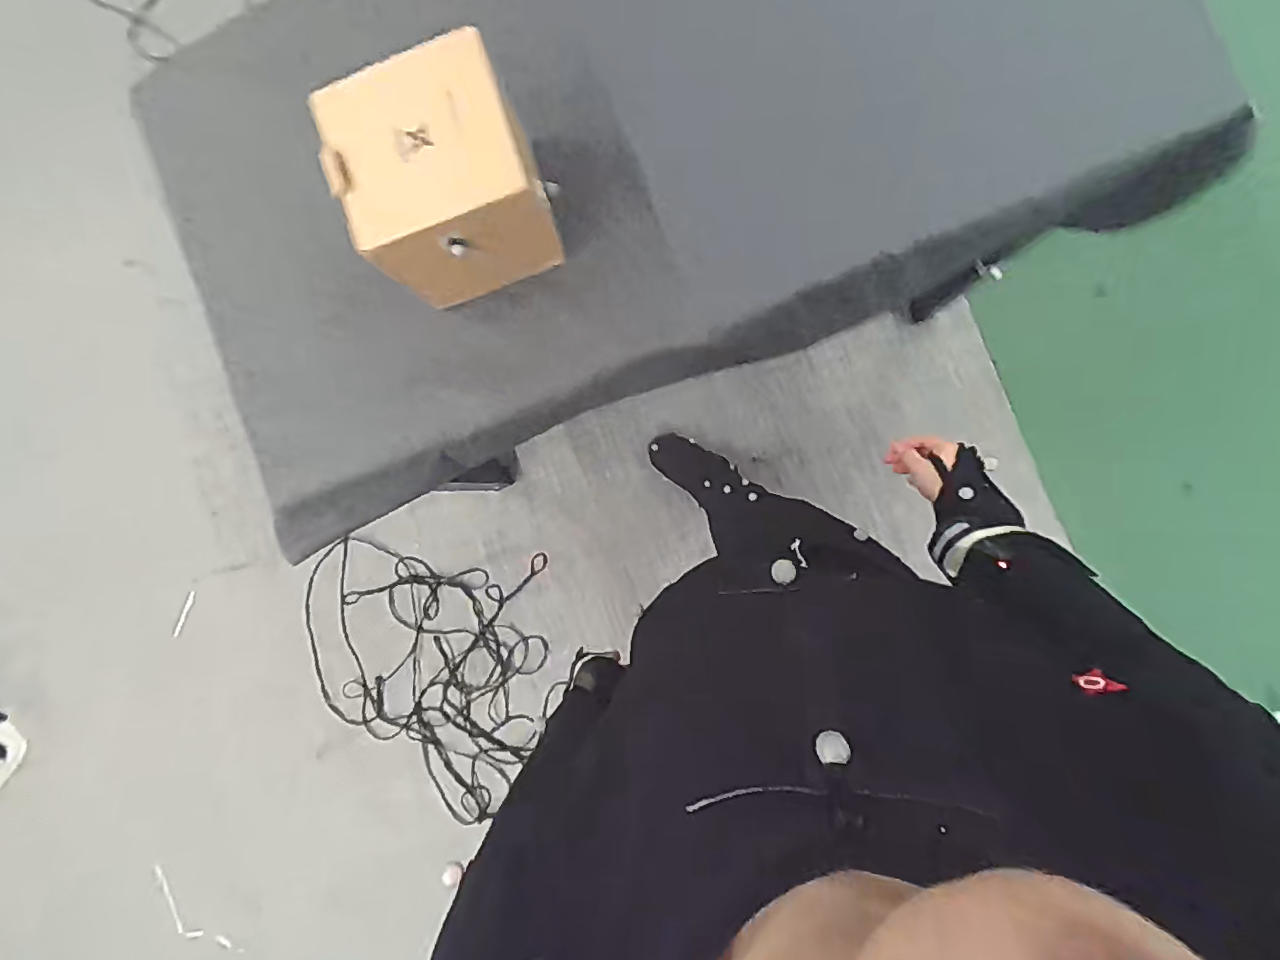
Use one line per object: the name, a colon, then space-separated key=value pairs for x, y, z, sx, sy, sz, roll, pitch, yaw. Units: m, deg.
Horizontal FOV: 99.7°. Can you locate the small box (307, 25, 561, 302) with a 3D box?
small box: x=-0.205 y=-0.317 z=0.584 sx=0.179 sy=0.176 sz=0.168 roll=-19 pitch=88 yaw=4
